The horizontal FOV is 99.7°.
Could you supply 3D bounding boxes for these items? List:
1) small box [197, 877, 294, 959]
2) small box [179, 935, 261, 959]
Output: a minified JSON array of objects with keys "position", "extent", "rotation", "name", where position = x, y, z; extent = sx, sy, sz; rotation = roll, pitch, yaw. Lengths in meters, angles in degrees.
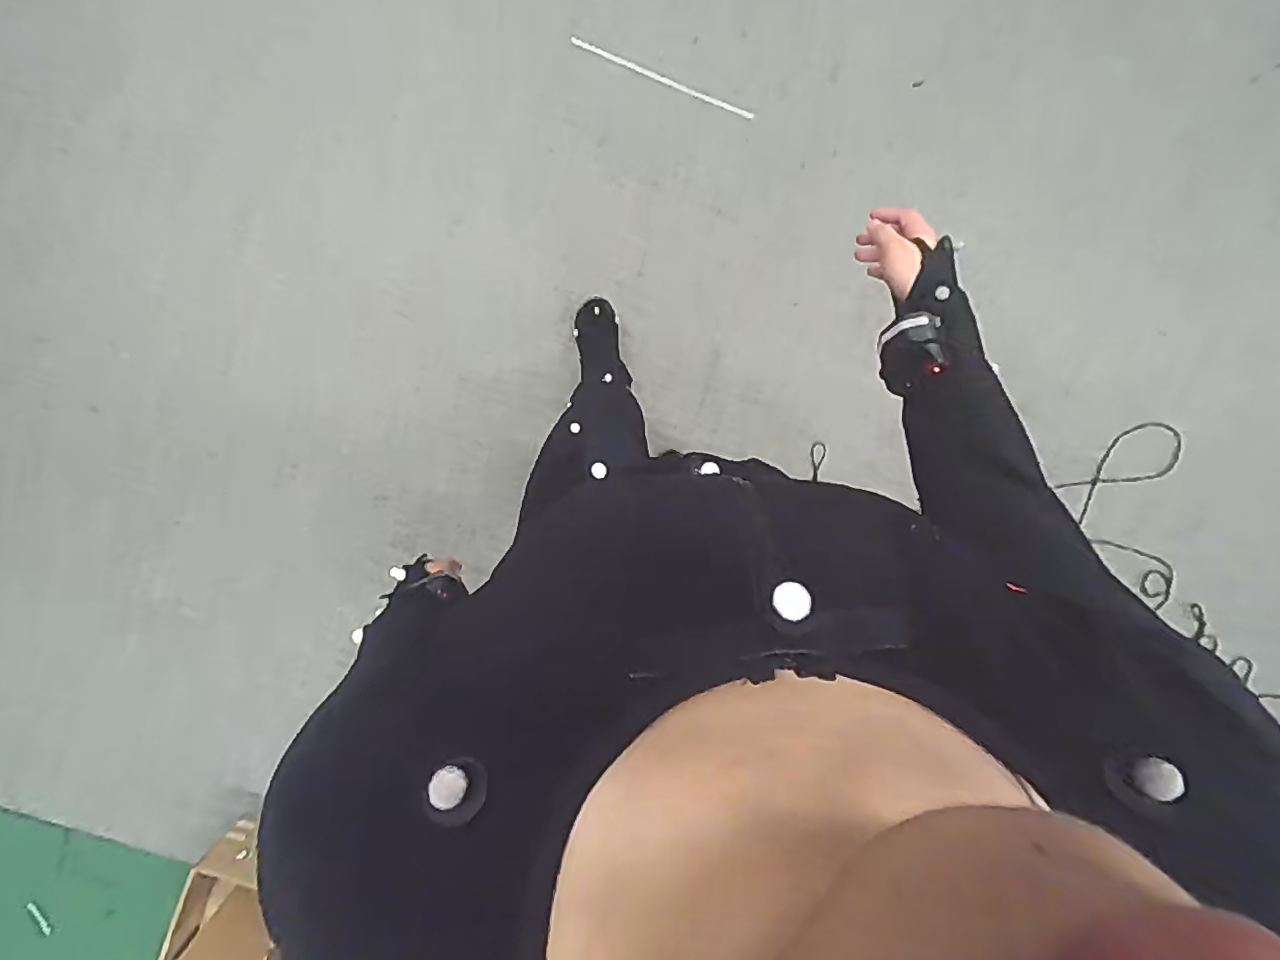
[{"position":[-1.102,1.258,1.488],"extent":[0.168,0.176,0.179],"rotation":[29,95,-7],"name":"small box"},{"position":[-1.092,1.277,1.325],"extent":[0.179,0.176,0.168],"rotation":[30,96,-7],"name":"small box"}]
